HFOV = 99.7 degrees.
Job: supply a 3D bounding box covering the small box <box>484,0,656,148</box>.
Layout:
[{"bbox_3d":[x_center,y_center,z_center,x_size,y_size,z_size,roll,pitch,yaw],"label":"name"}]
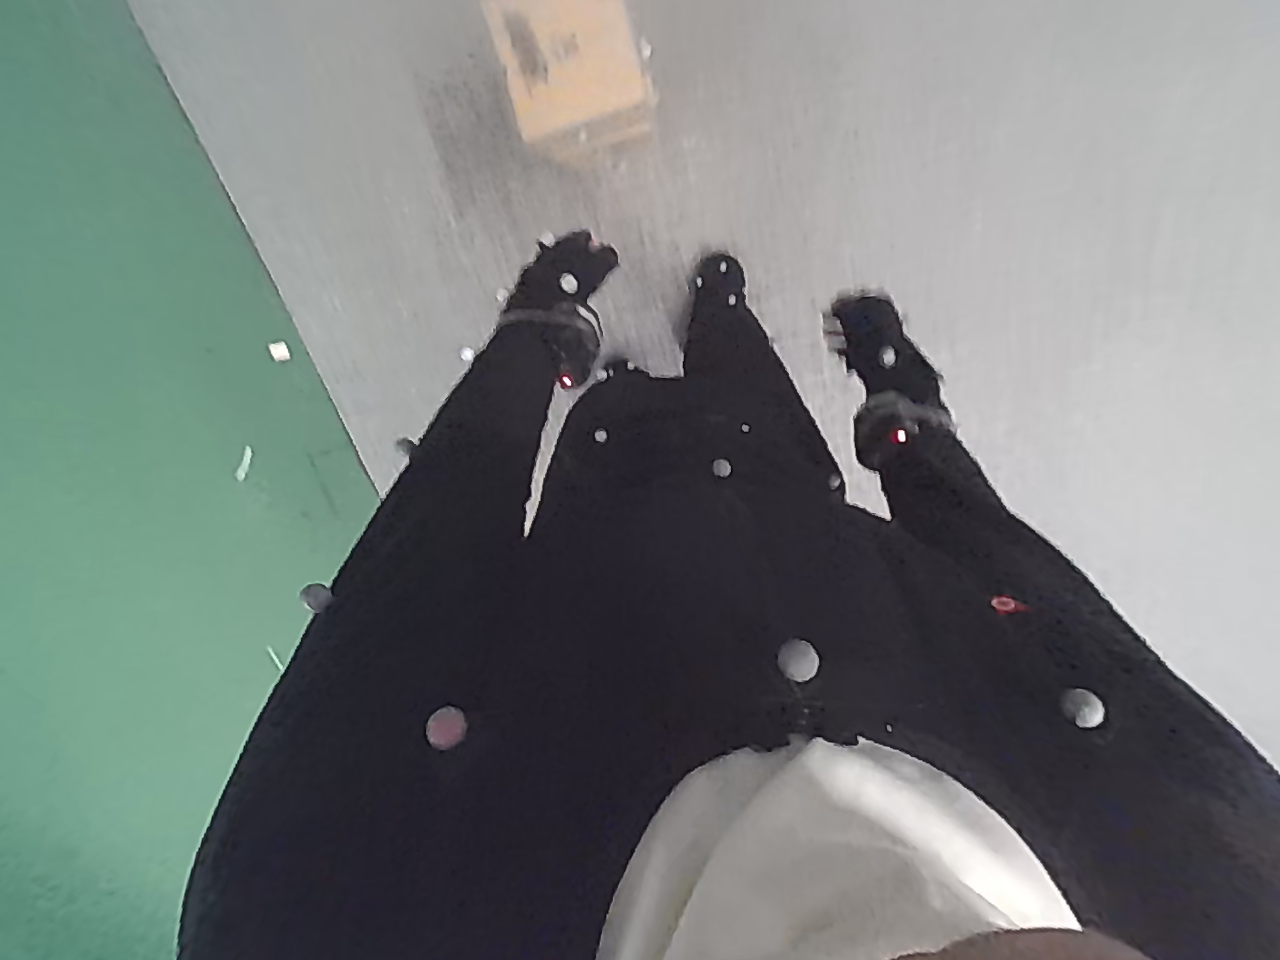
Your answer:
[{"bbox_3d":[-0.084,-0.585,0.753,0.179,0.176,0.168,-11,114,12],"label":"small box"}]
